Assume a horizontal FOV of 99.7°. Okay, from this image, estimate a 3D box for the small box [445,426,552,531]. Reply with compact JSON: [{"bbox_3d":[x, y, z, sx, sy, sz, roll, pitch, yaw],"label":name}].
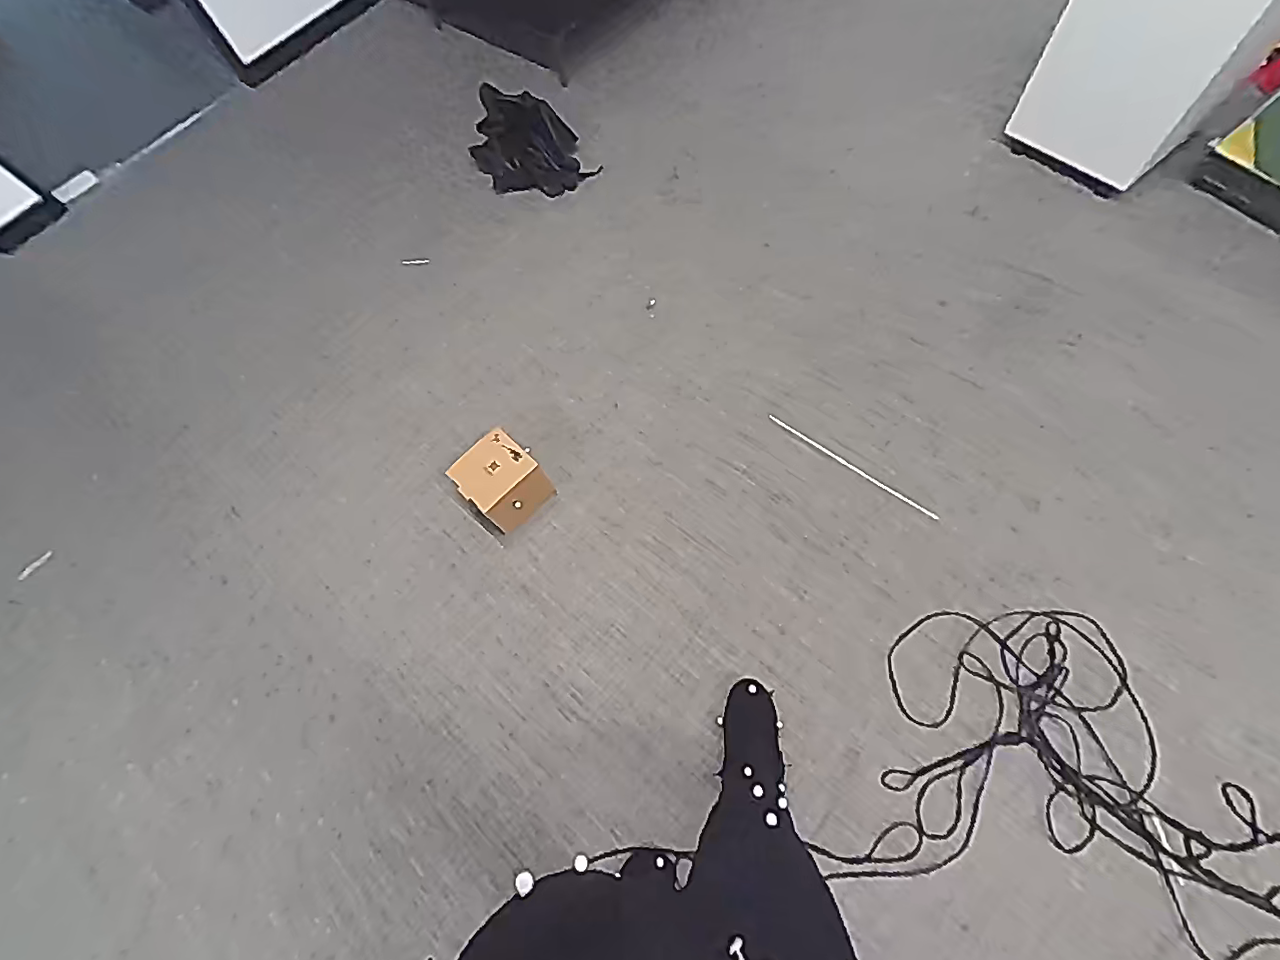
[{"bbox_3d":[-0.354,0.002,1.383,0.168,0.176,0.179,41,77,21],"label":"small box"}]
